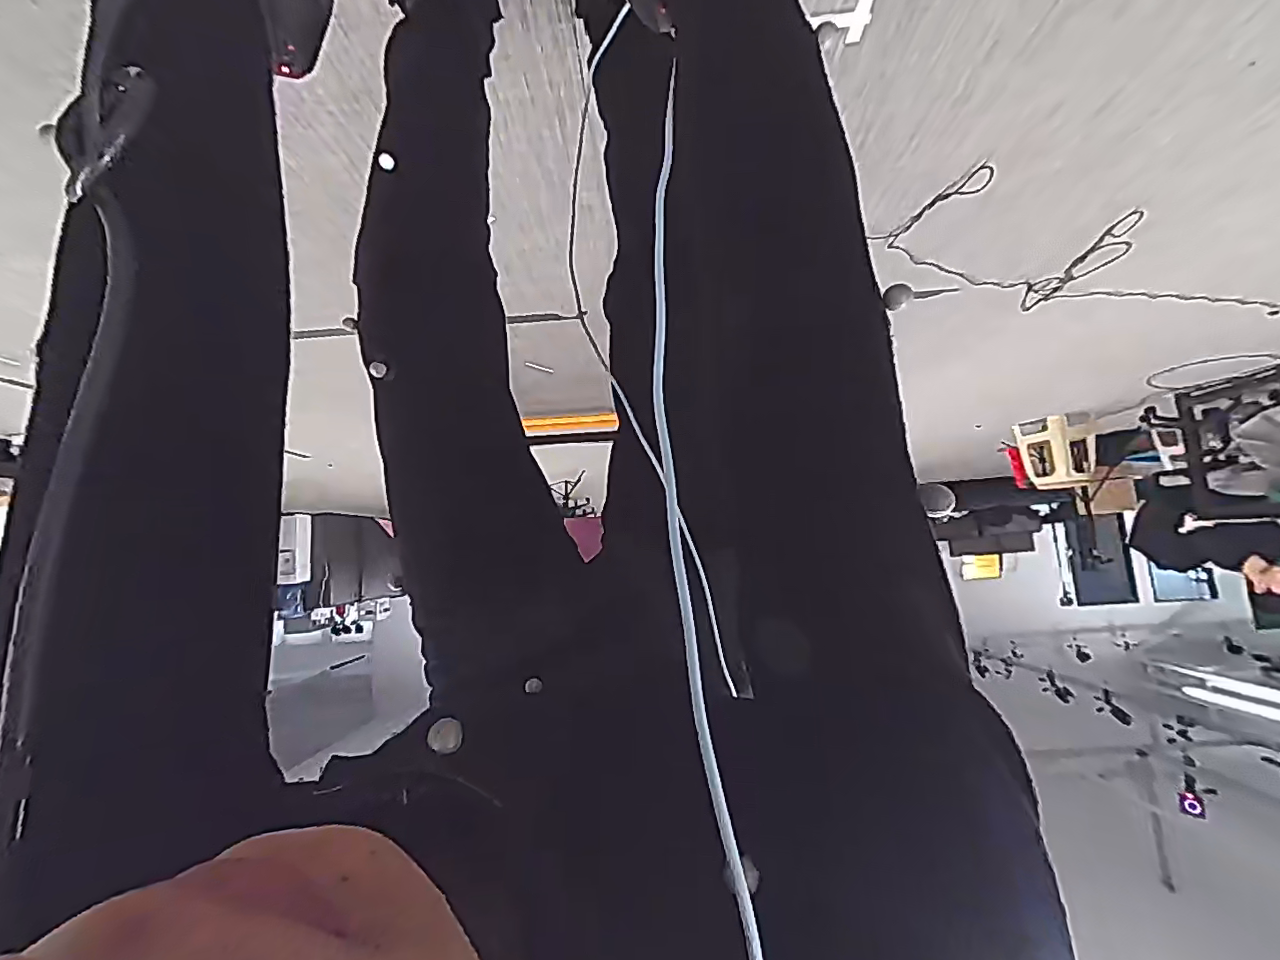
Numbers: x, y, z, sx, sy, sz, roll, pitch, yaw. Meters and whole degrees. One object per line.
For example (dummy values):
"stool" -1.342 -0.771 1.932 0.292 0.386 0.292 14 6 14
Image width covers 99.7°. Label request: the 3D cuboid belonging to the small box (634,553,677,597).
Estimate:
"small box" 0.062 0.403 2.310 0.168 0.176 0.179 -3 173 -2
